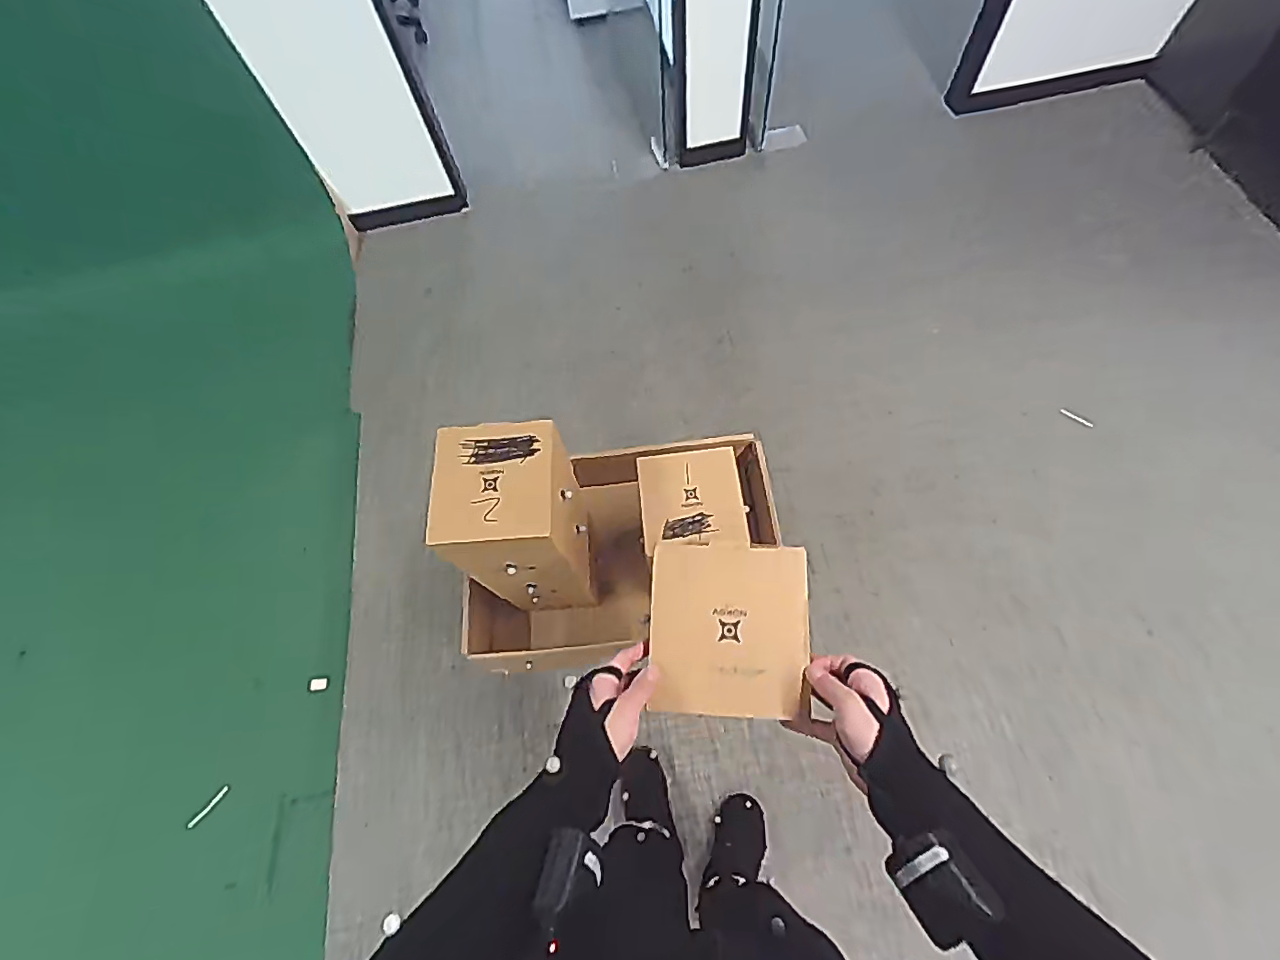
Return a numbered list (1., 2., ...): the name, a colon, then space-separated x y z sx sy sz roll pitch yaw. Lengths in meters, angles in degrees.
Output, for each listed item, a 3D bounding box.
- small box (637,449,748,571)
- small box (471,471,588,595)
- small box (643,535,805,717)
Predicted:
1. small box: 0.089 0.068 0.943 0.168 0.176 0.179 -6 64 2
2. small box: -0.185 0.102 0.952 0.168 0.176 0.179 -5 66 2
3. small box: 0.092 0.170 0.639 0.168 0.176 0.179 3 74 4
